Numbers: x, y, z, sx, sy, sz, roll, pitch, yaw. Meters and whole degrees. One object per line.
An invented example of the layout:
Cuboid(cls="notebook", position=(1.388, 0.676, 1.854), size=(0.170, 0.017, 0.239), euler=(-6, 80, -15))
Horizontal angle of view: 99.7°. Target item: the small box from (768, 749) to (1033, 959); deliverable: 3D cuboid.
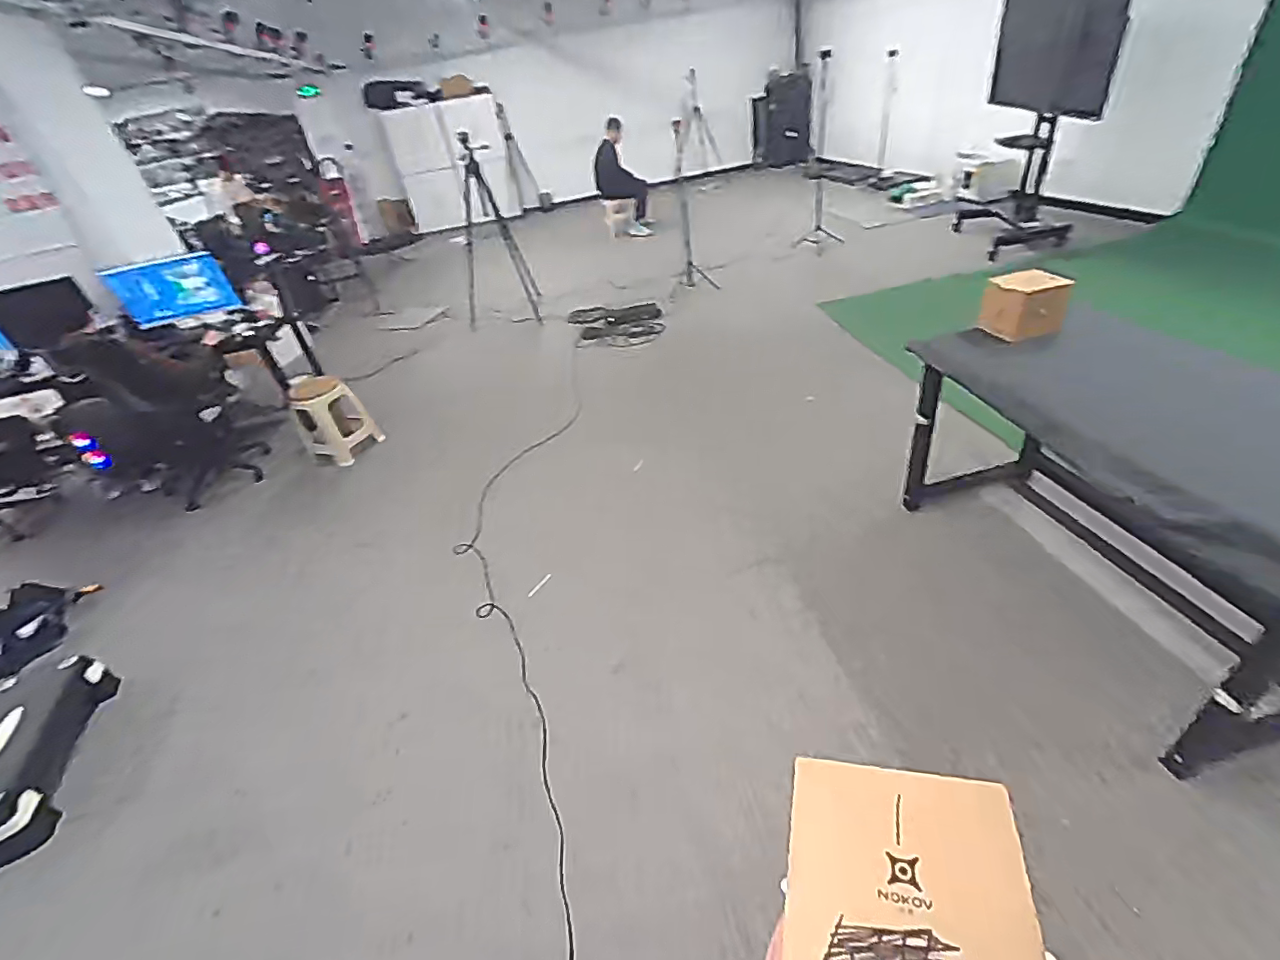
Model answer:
Cuboid(cls="small box", position=(0.205, 0.356, 0.437), size=(0.168, 0.176, 0.179), euler=(-3, 32, 22))

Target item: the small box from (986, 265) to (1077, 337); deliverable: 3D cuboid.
Cuboid(cls="small box", position=(1.286, -0.592, 1.794), size=(0.179, 0.176, 0.168), euler=(-14, 38, -3))
